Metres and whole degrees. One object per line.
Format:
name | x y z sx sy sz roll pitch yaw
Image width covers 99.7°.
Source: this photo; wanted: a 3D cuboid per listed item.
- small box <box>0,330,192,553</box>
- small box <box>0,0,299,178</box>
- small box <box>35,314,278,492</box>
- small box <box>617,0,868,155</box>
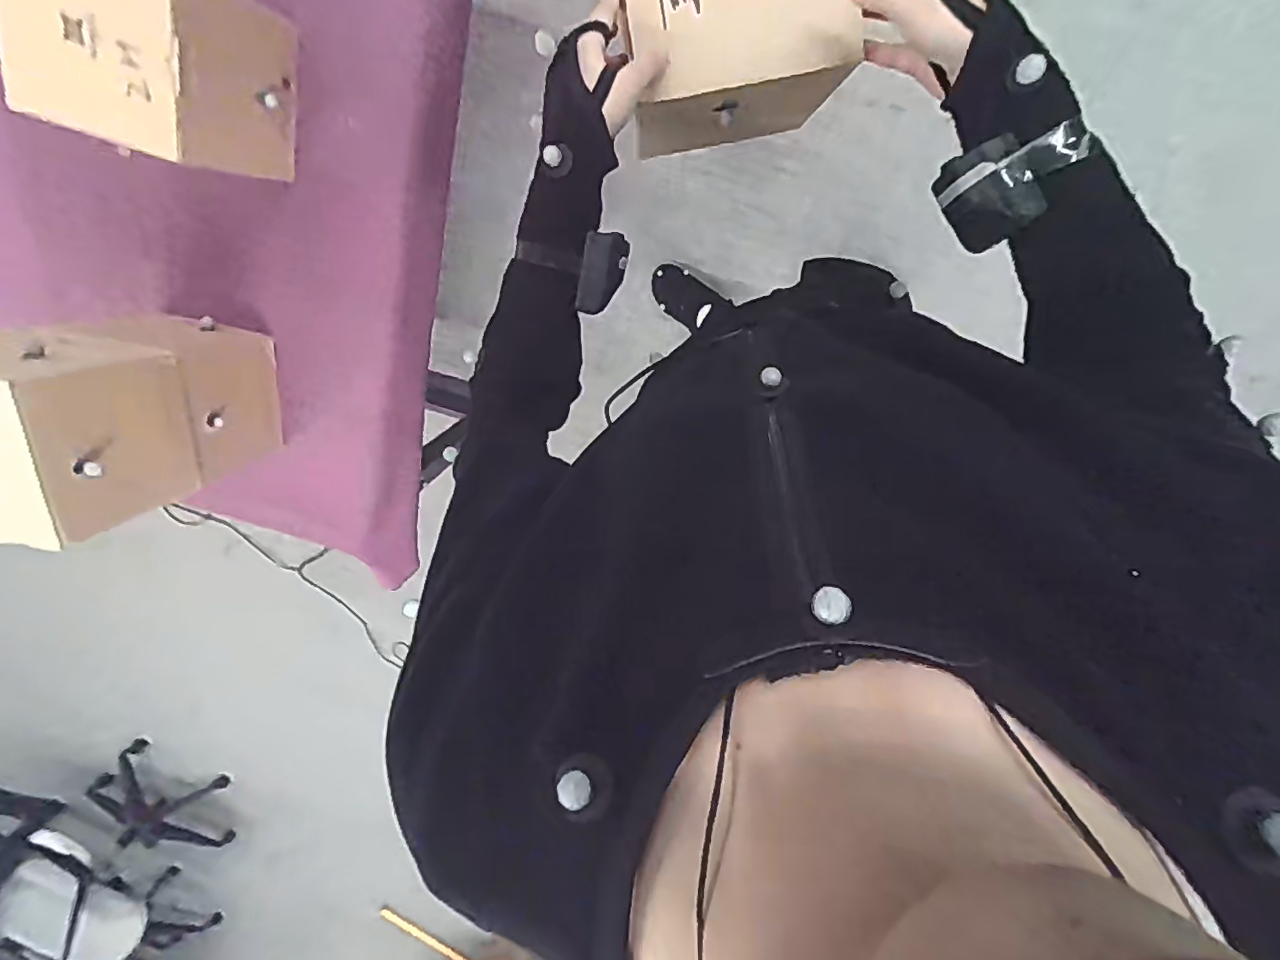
small box | -0.626 -0.051 0.568 0.168 0.176 0.179 10 114 0
small box | -0.503 -0.438 0.569 0.179 0.176 0.168 18 113 -2
small box | -0.616 -0.110 0.718 0.168 0.176 0.179 12 113 0
small box | 0.072 -0.398 0.459 0.179 0.176 0.168 -9 108 1
